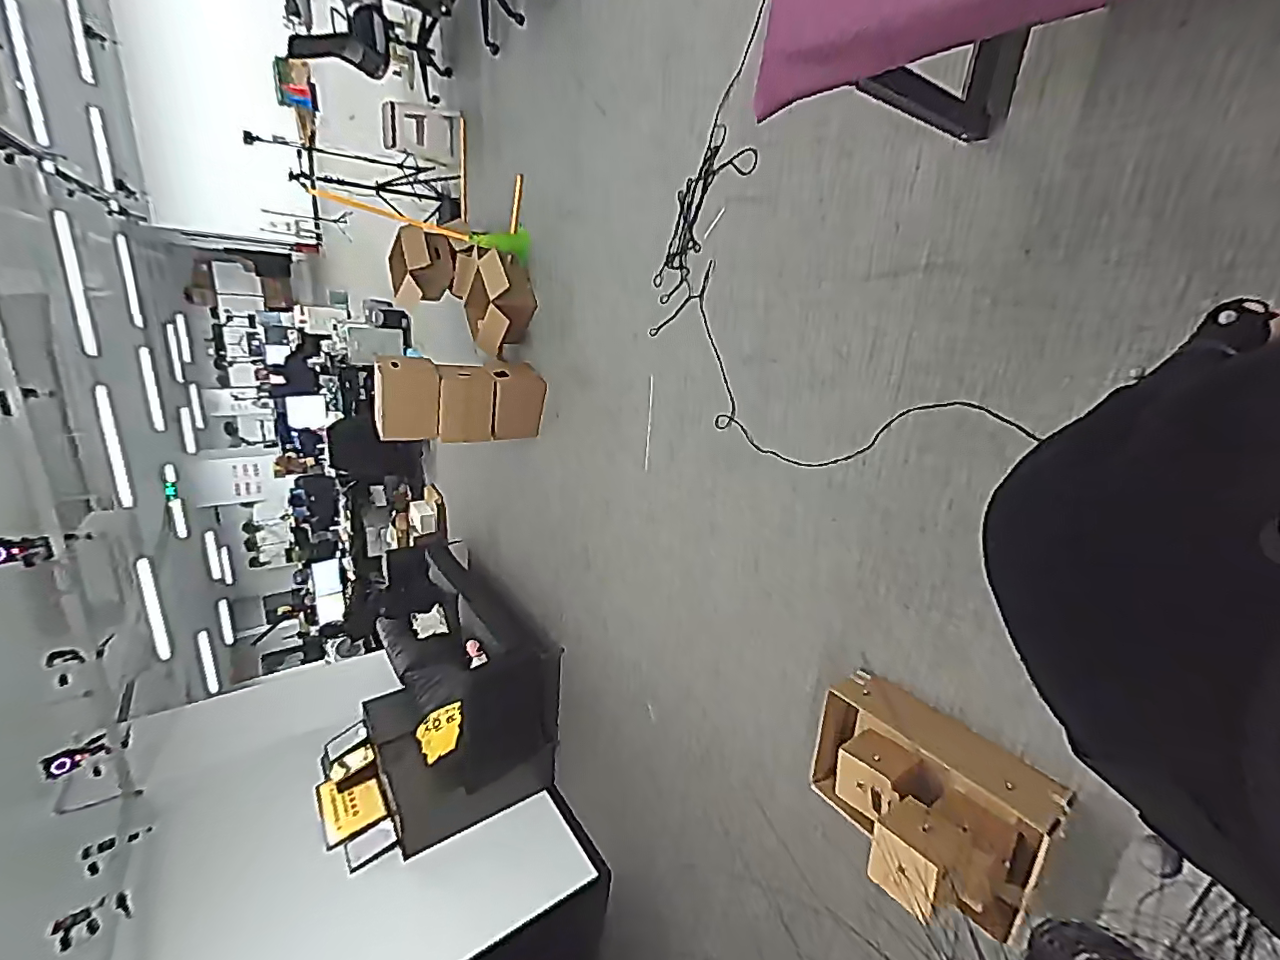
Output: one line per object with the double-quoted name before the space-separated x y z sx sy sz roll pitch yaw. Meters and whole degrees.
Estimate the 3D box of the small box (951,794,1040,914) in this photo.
"small box" 0.927 0.984 1.444 0.179 0.176 0.168 22 113 55

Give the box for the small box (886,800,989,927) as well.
"small box" 0.766 0.971 1.389 0.168 0.176 0.179 20 111 56

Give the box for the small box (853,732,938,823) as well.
"small box" 0.780 0.905 1.649 0.179 0.176 0.168 15 109 54
